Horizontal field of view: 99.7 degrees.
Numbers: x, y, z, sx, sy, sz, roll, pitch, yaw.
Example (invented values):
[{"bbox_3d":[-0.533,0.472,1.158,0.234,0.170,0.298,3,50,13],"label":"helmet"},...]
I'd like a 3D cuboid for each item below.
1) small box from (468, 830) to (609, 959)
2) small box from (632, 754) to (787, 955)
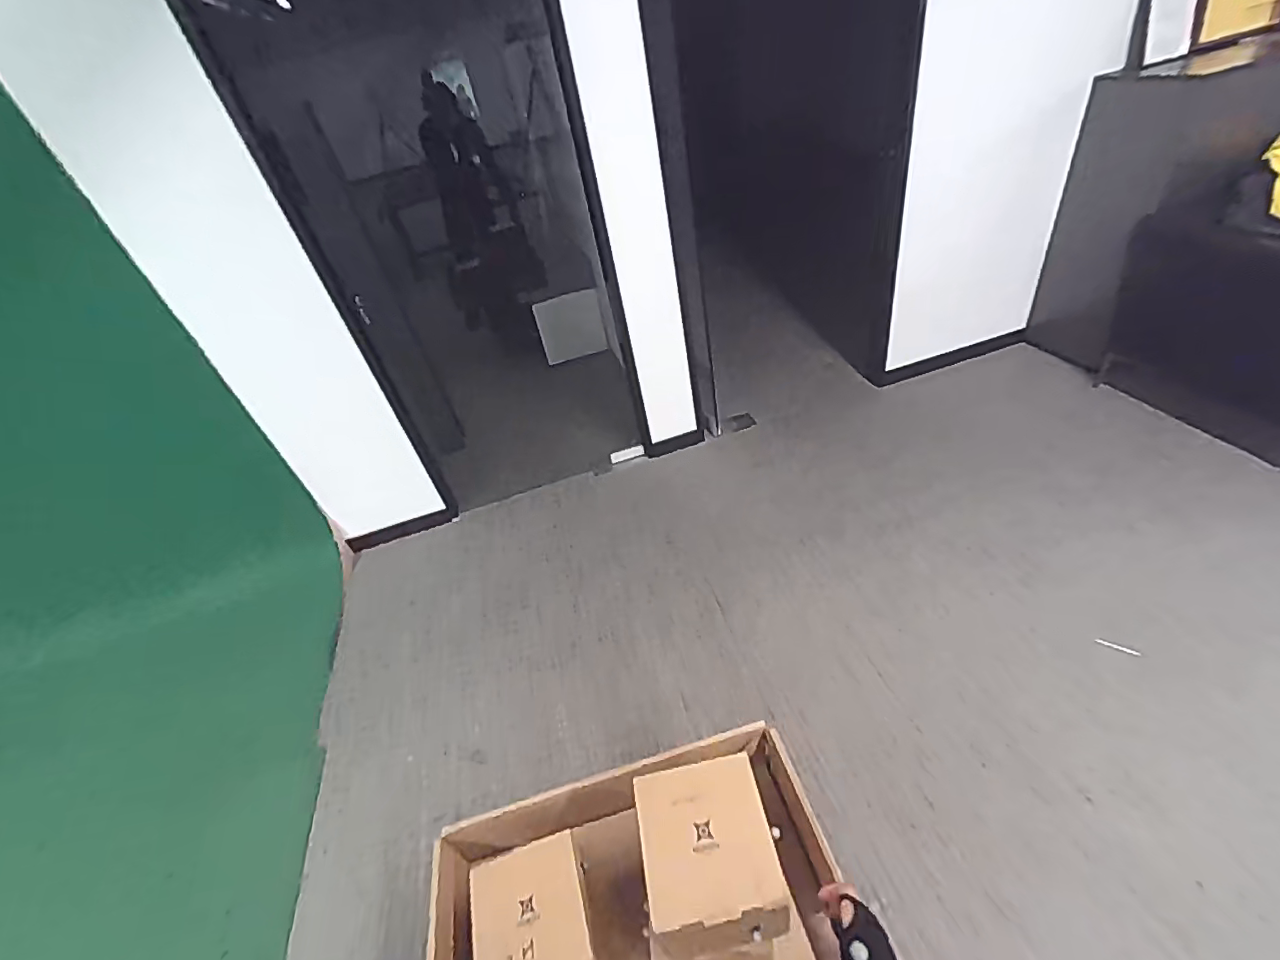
[{"bbox_3d":[-0.154,0.688,0.830,0.168,0.176,0.179,-18,39,-7],"label":"small box"},{"bbox_3d":[0.092,0.506,0.727,0.168,0.176,0.179,-12,39,0],"label":"small box"}]
